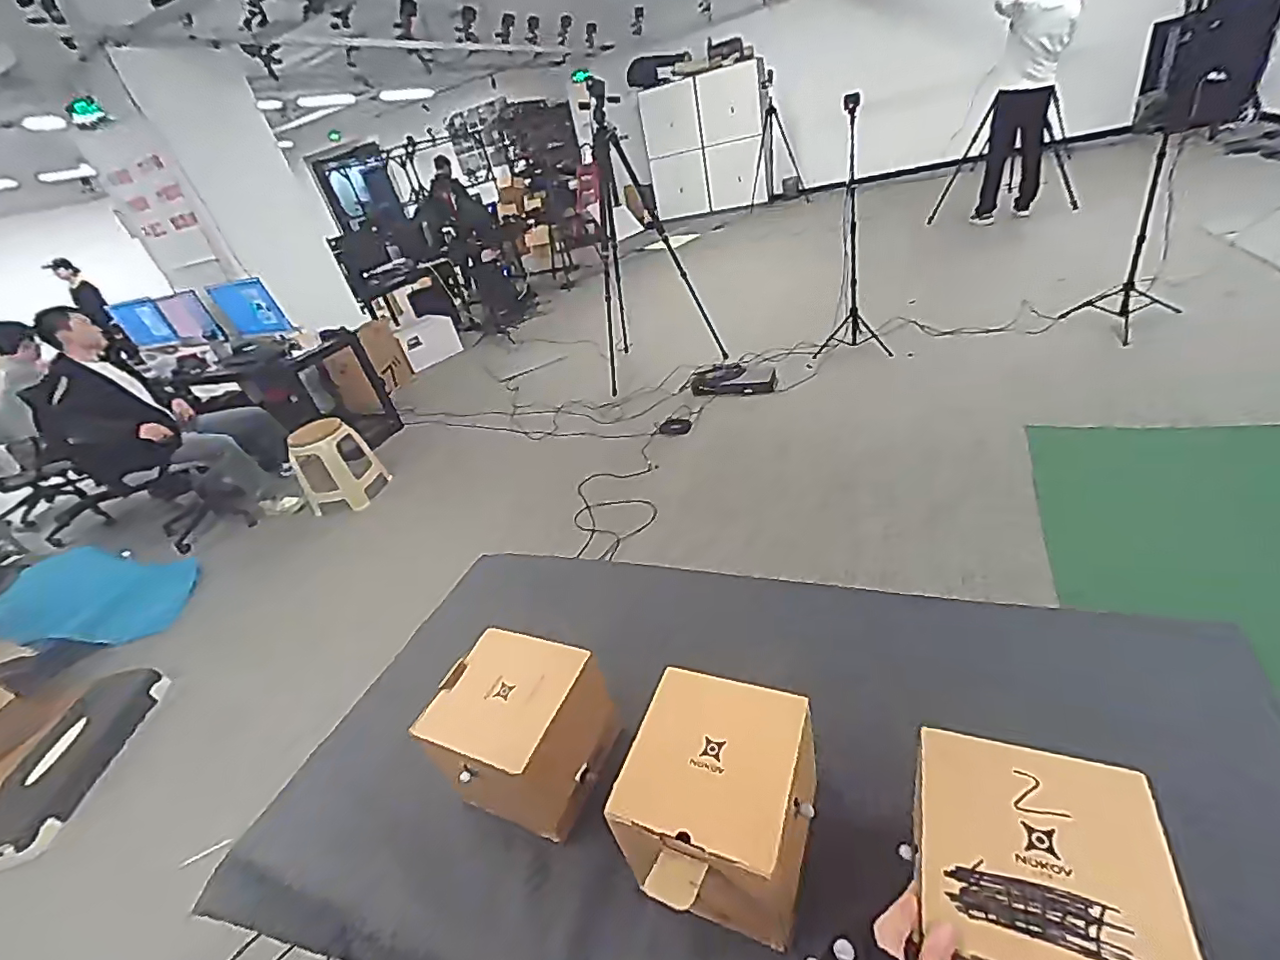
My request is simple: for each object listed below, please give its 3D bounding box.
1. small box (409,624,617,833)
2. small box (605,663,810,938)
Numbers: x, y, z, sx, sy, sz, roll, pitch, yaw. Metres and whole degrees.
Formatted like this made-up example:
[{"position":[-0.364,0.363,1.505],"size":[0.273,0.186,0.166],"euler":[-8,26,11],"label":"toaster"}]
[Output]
[{"position":[-0.154,0.320,0.708],"size":[0.179,0.176,0.168],"euler":[5,38,27],"label":"small box"},{"position":[0.086,0.337,0.586],"size":[0.168,0.176,0.179],"euler":[4,37,26],"label":"small box"}]
